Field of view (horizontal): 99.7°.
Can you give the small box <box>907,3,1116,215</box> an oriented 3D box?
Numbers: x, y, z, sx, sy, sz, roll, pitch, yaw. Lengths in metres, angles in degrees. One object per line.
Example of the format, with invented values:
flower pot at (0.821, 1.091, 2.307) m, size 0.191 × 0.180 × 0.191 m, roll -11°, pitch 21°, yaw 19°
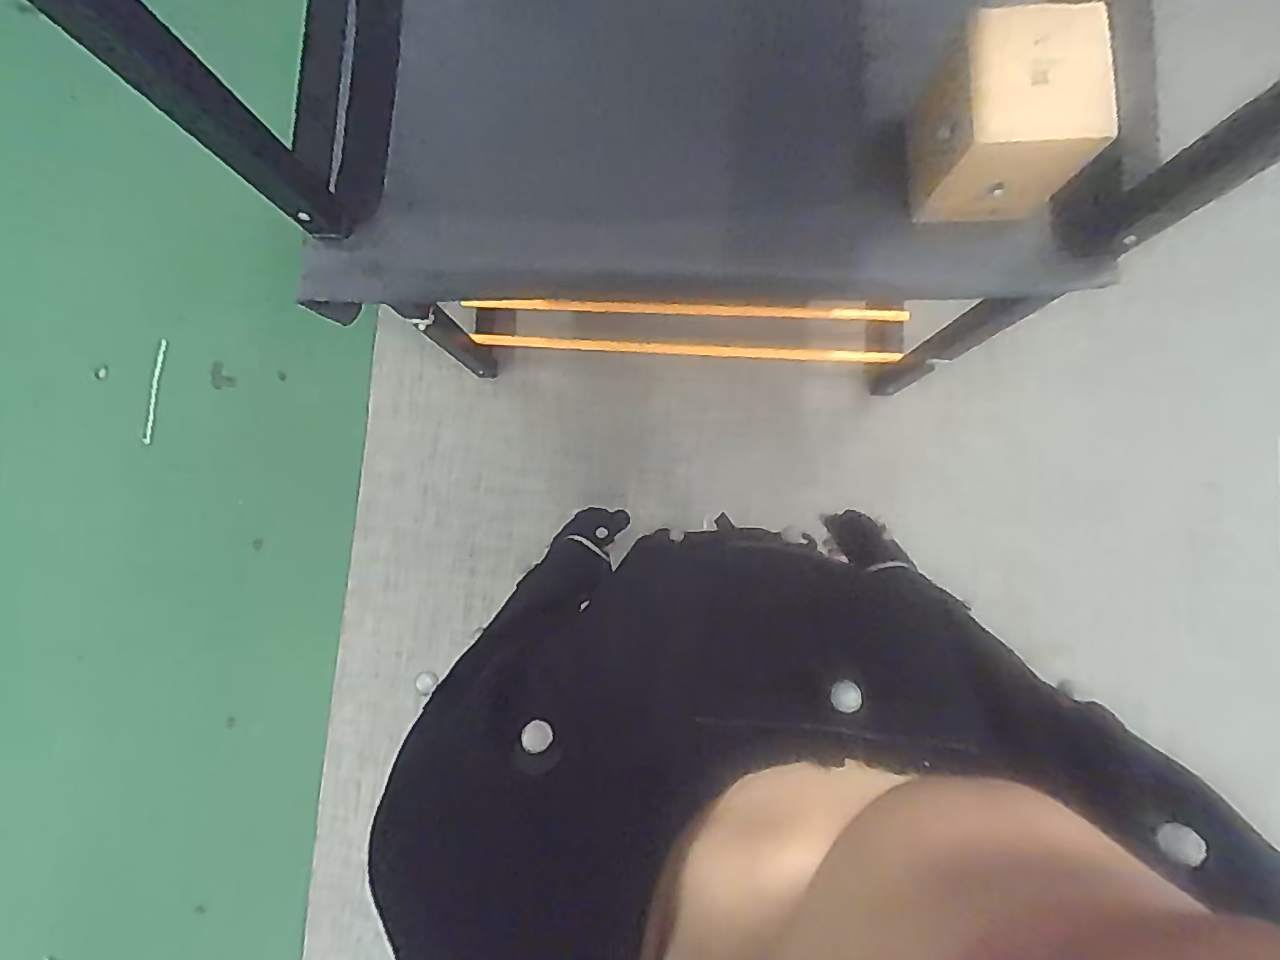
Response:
small box at (0.477, -0.476, 0.721) m, size 0.168 × 0.176 × 0.179 m, roll -1°, pitch 84°, yaw 2°
